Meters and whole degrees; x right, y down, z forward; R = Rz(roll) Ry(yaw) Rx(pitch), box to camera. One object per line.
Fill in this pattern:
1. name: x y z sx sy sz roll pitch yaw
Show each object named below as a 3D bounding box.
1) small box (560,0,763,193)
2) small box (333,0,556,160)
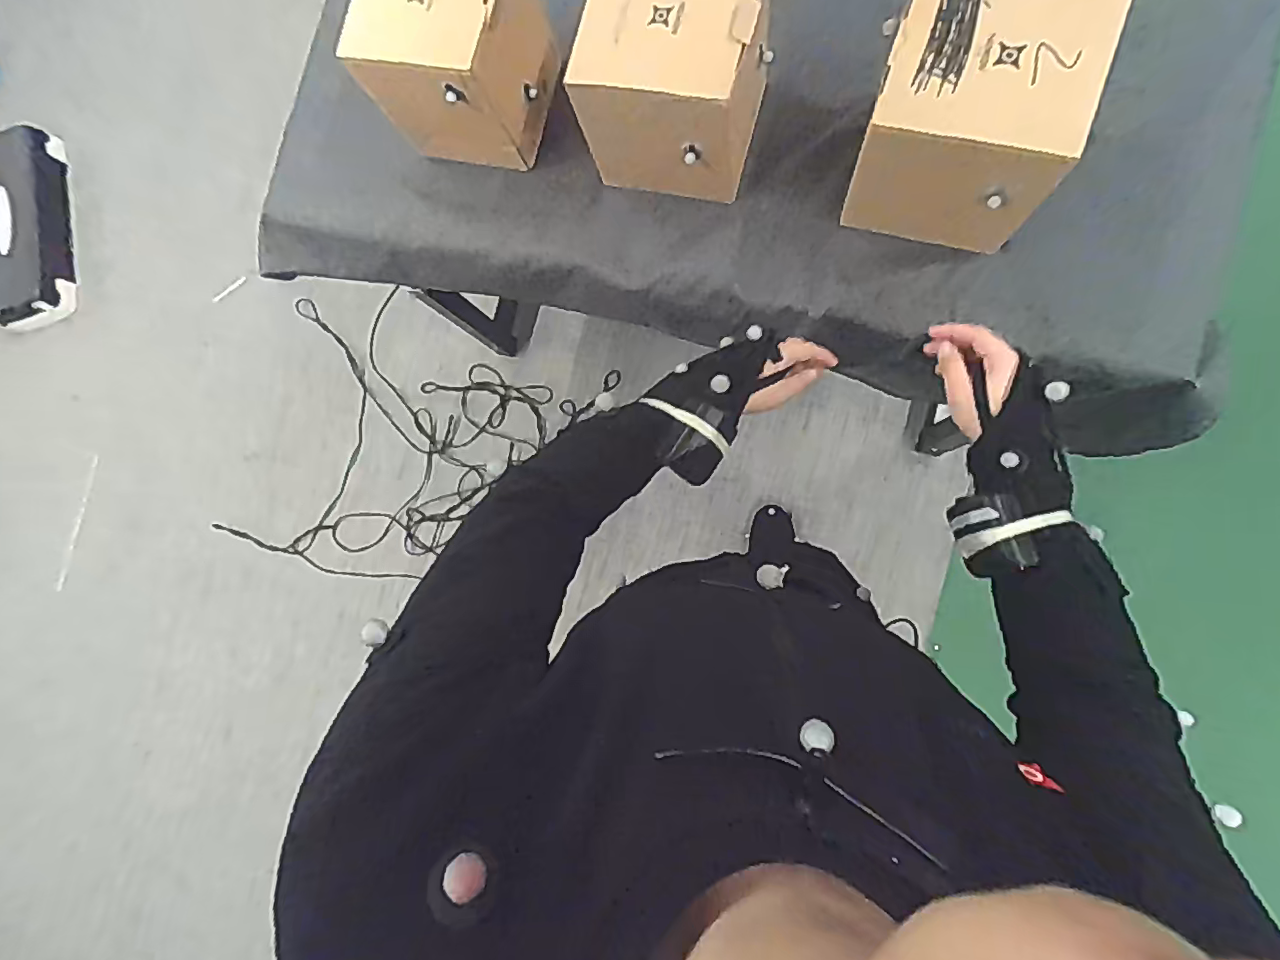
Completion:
1. small box: 0.037 -0.456 0.611 0.179 0.176 0.168 15 87 13
2. small box: -0.228 -0.531 0.670 0.179 0.176 0.168 14 88 11
